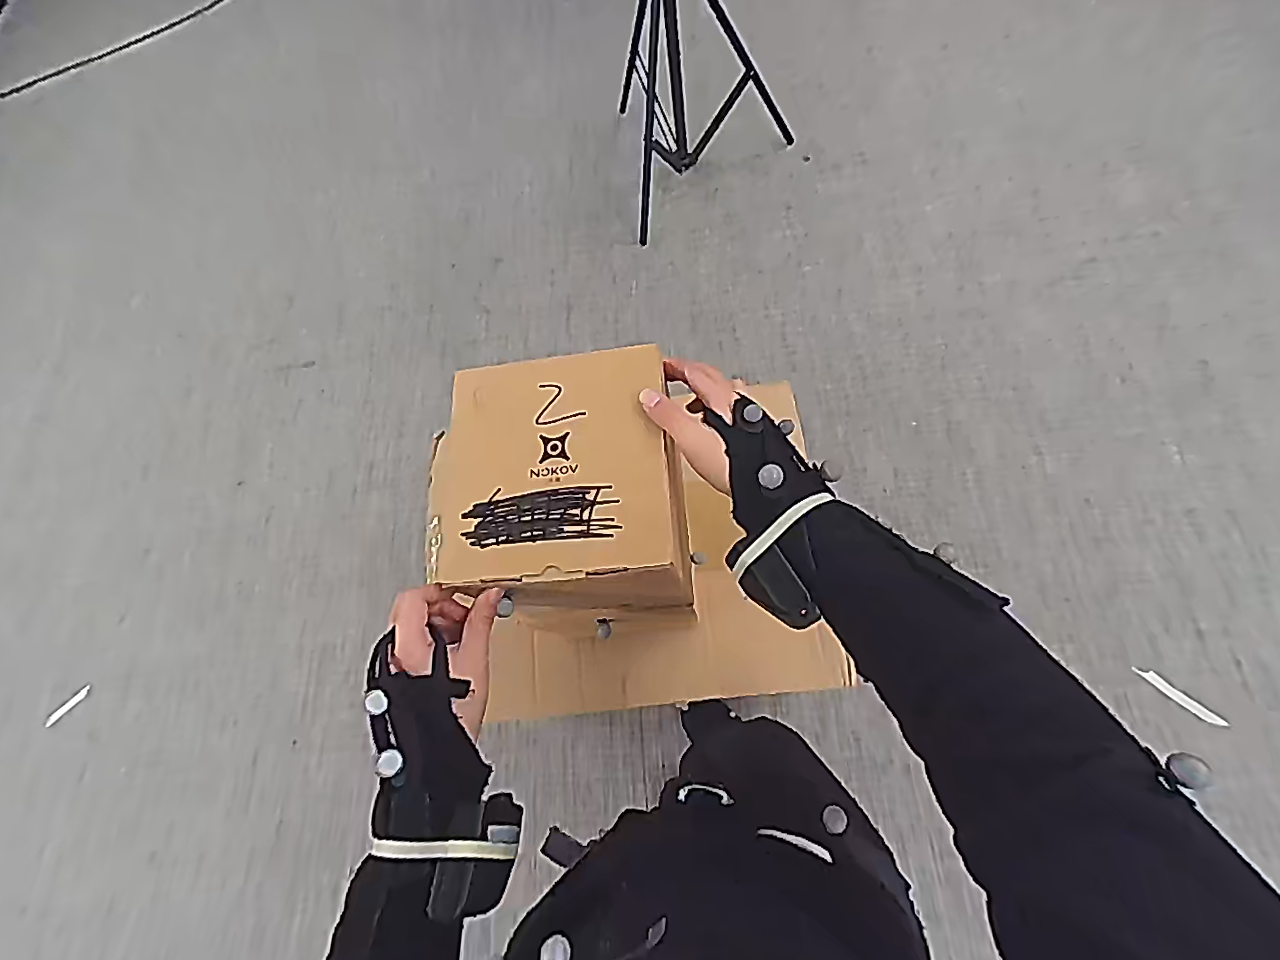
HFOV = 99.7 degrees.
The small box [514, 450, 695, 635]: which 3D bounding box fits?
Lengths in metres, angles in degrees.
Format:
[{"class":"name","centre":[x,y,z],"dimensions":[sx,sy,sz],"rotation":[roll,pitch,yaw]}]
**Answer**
[{"class":"small box","centre":[-0.032,0.081,0.617],"dimensions":[0.179,0.176,0.168],"rotation":[-8,69,7]}]
